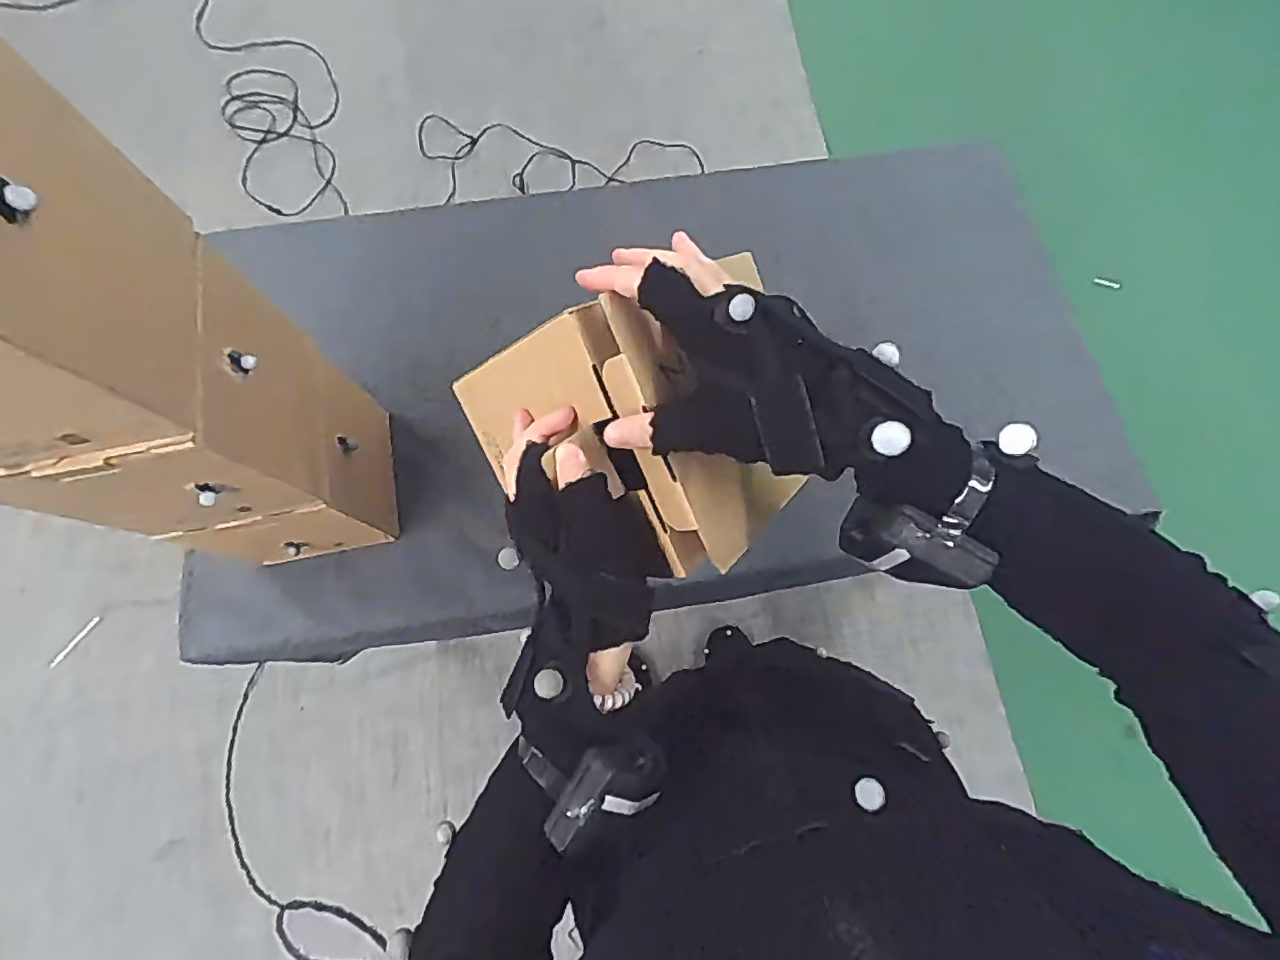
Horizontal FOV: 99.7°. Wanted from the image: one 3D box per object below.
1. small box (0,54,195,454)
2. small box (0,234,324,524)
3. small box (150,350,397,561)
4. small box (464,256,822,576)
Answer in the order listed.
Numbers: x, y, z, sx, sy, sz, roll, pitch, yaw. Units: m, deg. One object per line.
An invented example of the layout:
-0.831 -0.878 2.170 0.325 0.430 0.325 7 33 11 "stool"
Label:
-0.391 -0.121 0.299 0.168 0.176 0.179 -12 74 -5 "small box"
-0.391 -0.067 0.454 0.168 0.176 0.179 -10 74 -4 "small box"
-0.393 -0.018 0.610 0.168 0.176 0.179 -11 74 -4 "small box"
0.002 -0.044 0.409 0.179 0.176 0.168 -32 104 -38 "small box"
